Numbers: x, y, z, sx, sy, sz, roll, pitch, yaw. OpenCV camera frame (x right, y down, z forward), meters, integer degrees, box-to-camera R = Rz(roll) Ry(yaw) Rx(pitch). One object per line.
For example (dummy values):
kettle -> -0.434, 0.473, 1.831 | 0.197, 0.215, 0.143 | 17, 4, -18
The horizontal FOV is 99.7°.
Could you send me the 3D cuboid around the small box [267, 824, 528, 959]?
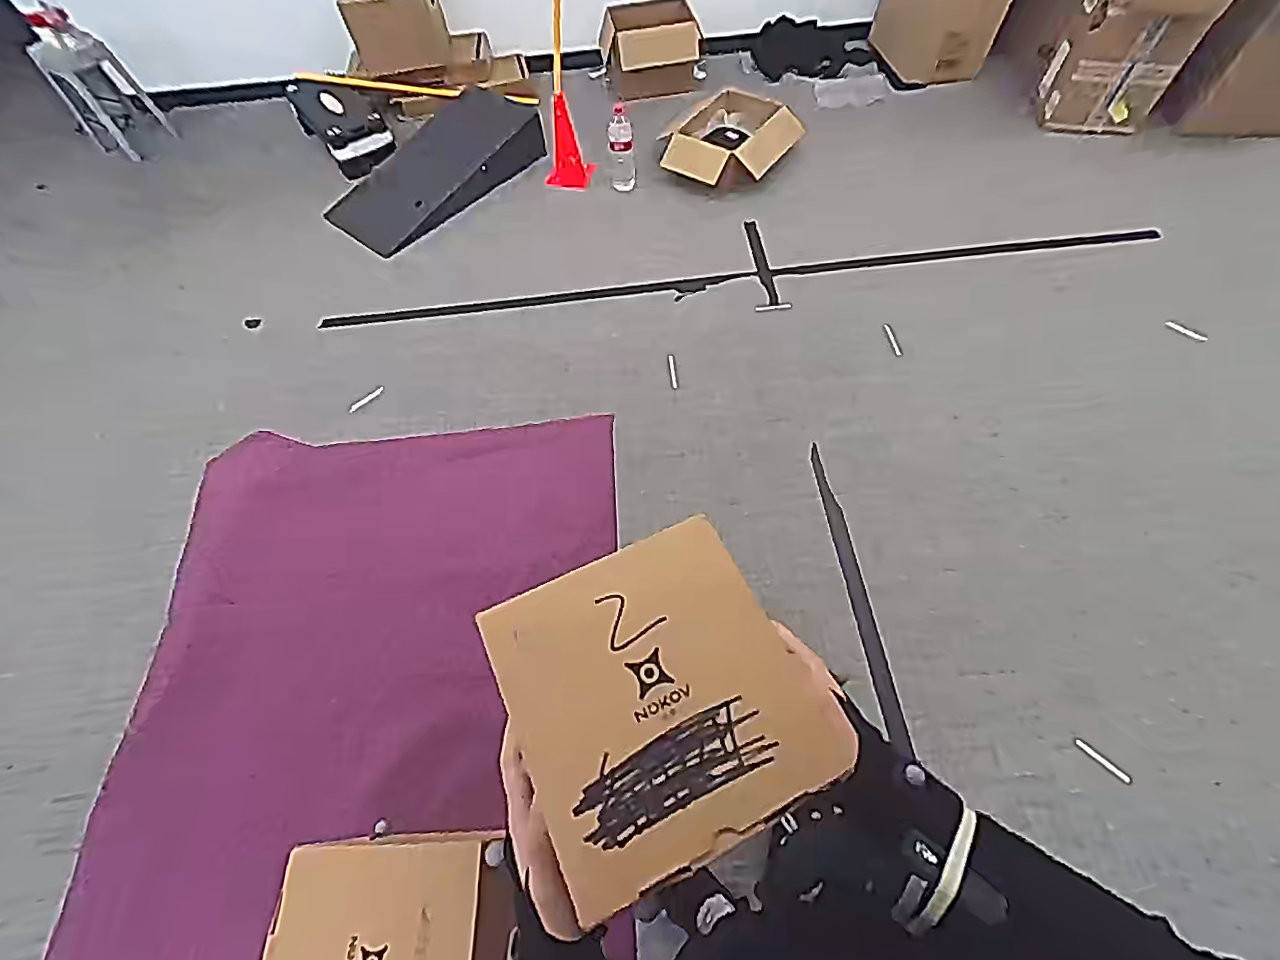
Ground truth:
small box -> -0.215, 0.426, 0.507 | 0.179, 0.176, 0.168 | -3, 60, 1
